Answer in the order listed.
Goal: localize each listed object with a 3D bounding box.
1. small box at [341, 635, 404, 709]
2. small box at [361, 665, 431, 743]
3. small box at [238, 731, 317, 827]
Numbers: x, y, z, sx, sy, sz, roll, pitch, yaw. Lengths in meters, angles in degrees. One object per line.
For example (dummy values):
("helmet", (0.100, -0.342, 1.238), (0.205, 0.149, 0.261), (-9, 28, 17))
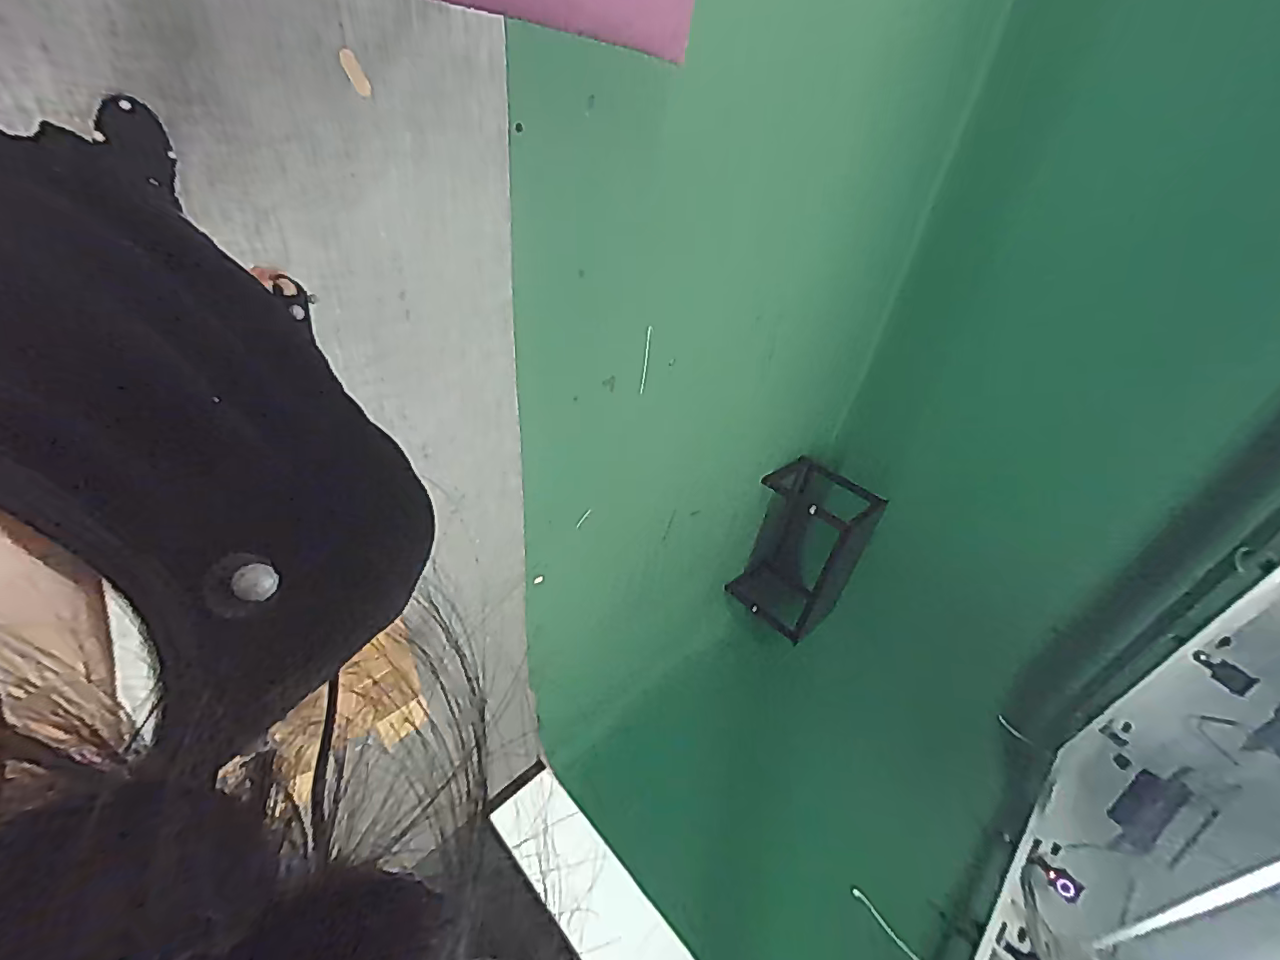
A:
("small box", (-1.002, 0.716, 2.046), (0.168, 0.176, 0.179), (-28, 141, -35))
("small box", (-0.888, 0.804, 1.964), (0.168, 0.176, 0.179), (-28, 140, -35))
("small box", (-1.168, 0.952, 1.736), (0.168, 0.176, 0.179), (-5, 125, -49))
